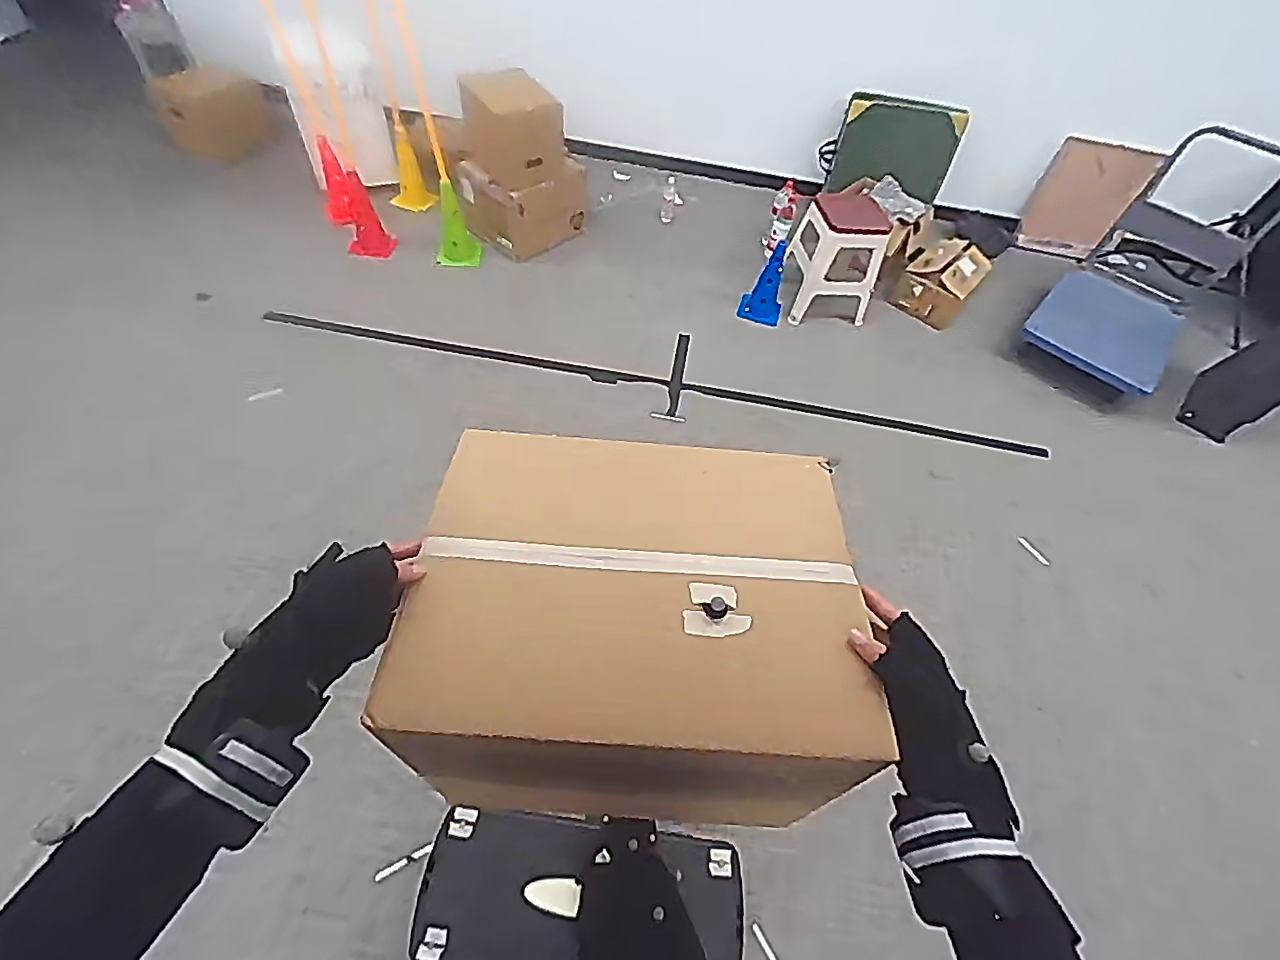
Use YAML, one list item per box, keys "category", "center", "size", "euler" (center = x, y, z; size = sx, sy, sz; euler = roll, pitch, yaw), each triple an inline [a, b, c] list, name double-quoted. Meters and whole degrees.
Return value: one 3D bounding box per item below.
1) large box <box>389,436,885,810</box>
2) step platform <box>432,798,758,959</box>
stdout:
- category: "large box"
  center: [-0.007, 0.175, 0.632]
  size: [0.408, 0.320, 0.320]
  euler: [5, 50, -2]
- category: "step platform"
  center: [-0.089, 0.911, 1.192]
  size: [0.684, 0.204, 0.286]
  euler: [10, 54, -1]
